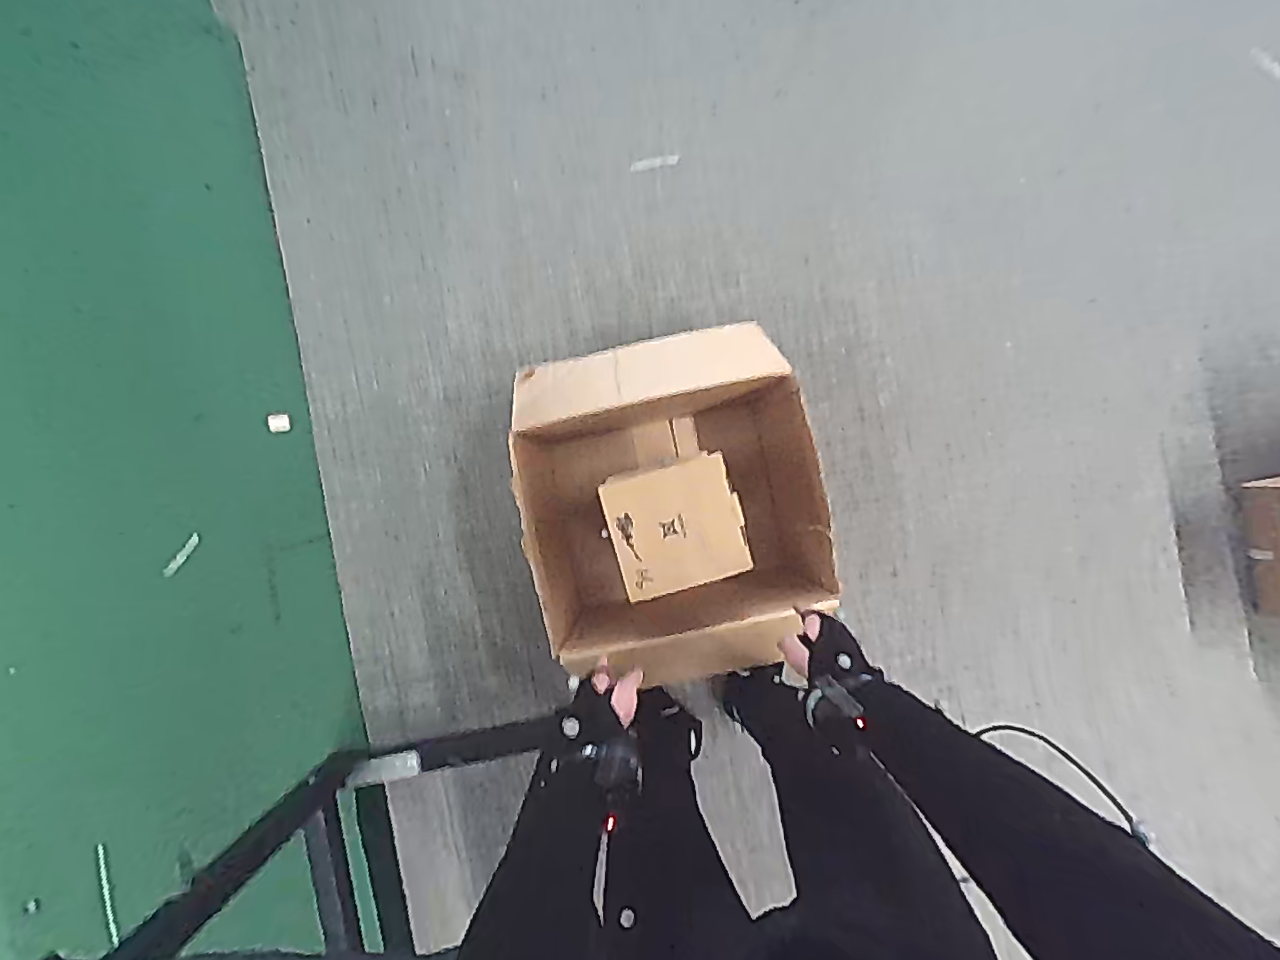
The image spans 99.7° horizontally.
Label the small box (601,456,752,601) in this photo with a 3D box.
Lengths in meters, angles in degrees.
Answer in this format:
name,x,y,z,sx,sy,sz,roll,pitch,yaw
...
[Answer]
name,x,y,z,sx,sy,sz,roll,pitch,yaw
small box,0.050,0.068,0.829,0.179,0.176,0.168,-18,88,1
